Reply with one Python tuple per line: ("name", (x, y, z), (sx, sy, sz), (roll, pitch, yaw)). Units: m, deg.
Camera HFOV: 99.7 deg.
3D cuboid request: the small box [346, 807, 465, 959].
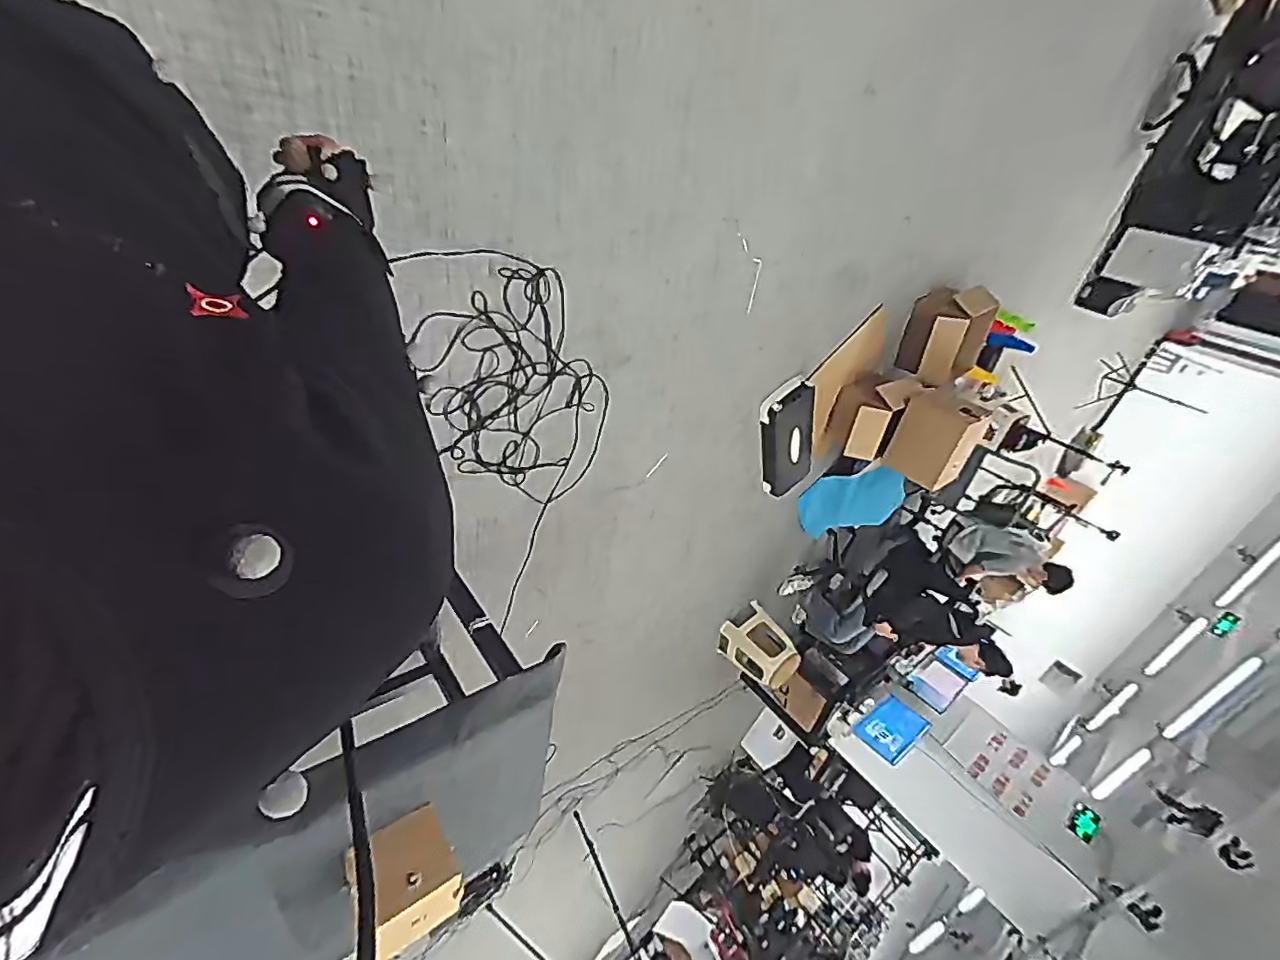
("small box", (-0.478, 0.820, 1.105), (0.179, 0.176, 0.168), (-13, 129, -37))
